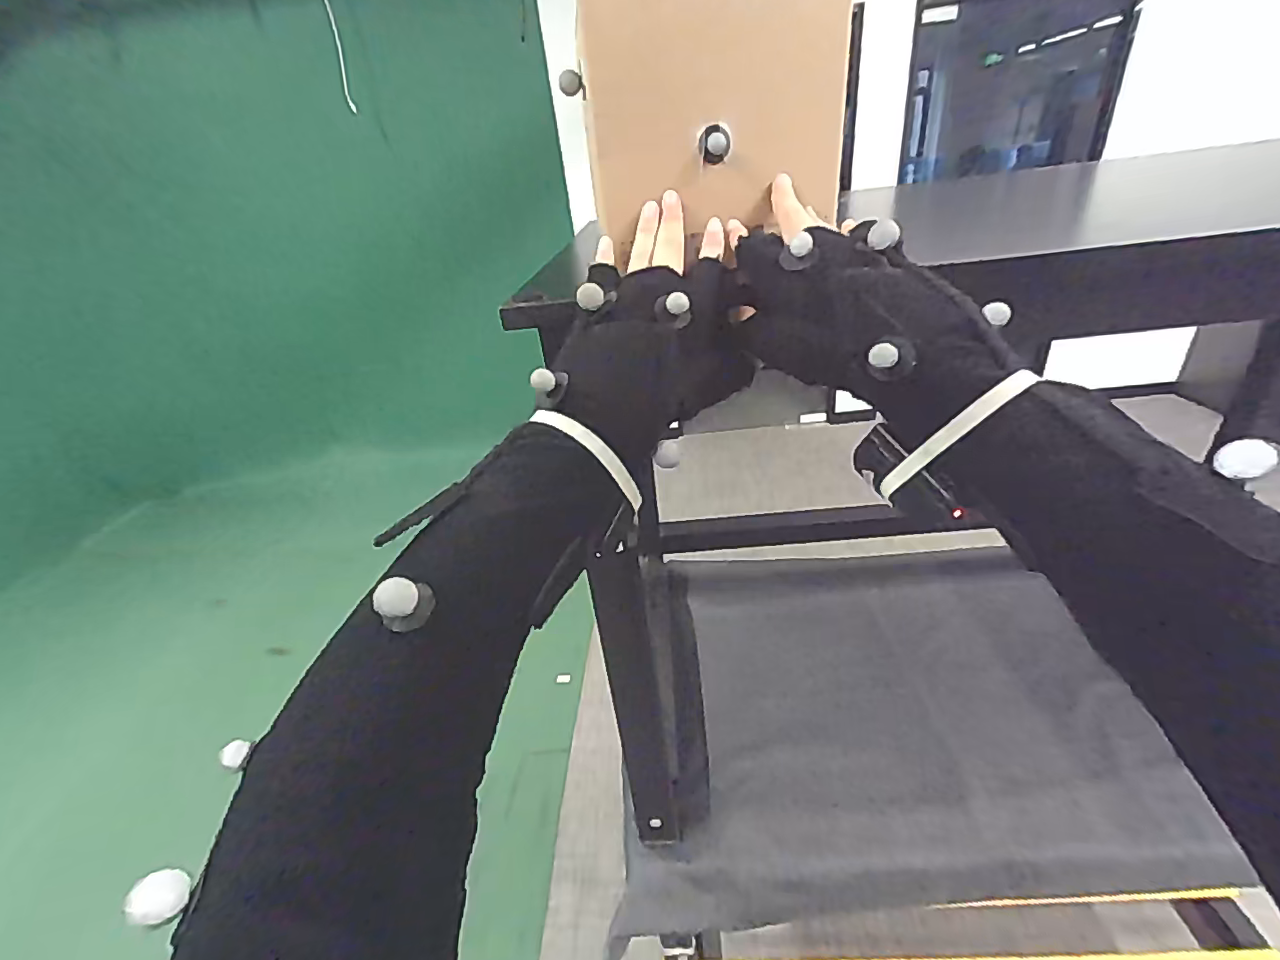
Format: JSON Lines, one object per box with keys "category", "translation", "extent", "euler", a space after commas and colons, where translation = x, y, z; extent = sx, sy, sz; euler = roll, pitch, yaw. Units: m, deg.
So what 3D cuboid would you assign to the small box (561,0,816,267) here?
{"category": "small box", "translation": [0.034, -0.276, 0.438], "extent": [0.168, 0.176, 0.179], "euler": [-8, 29, -2]}
